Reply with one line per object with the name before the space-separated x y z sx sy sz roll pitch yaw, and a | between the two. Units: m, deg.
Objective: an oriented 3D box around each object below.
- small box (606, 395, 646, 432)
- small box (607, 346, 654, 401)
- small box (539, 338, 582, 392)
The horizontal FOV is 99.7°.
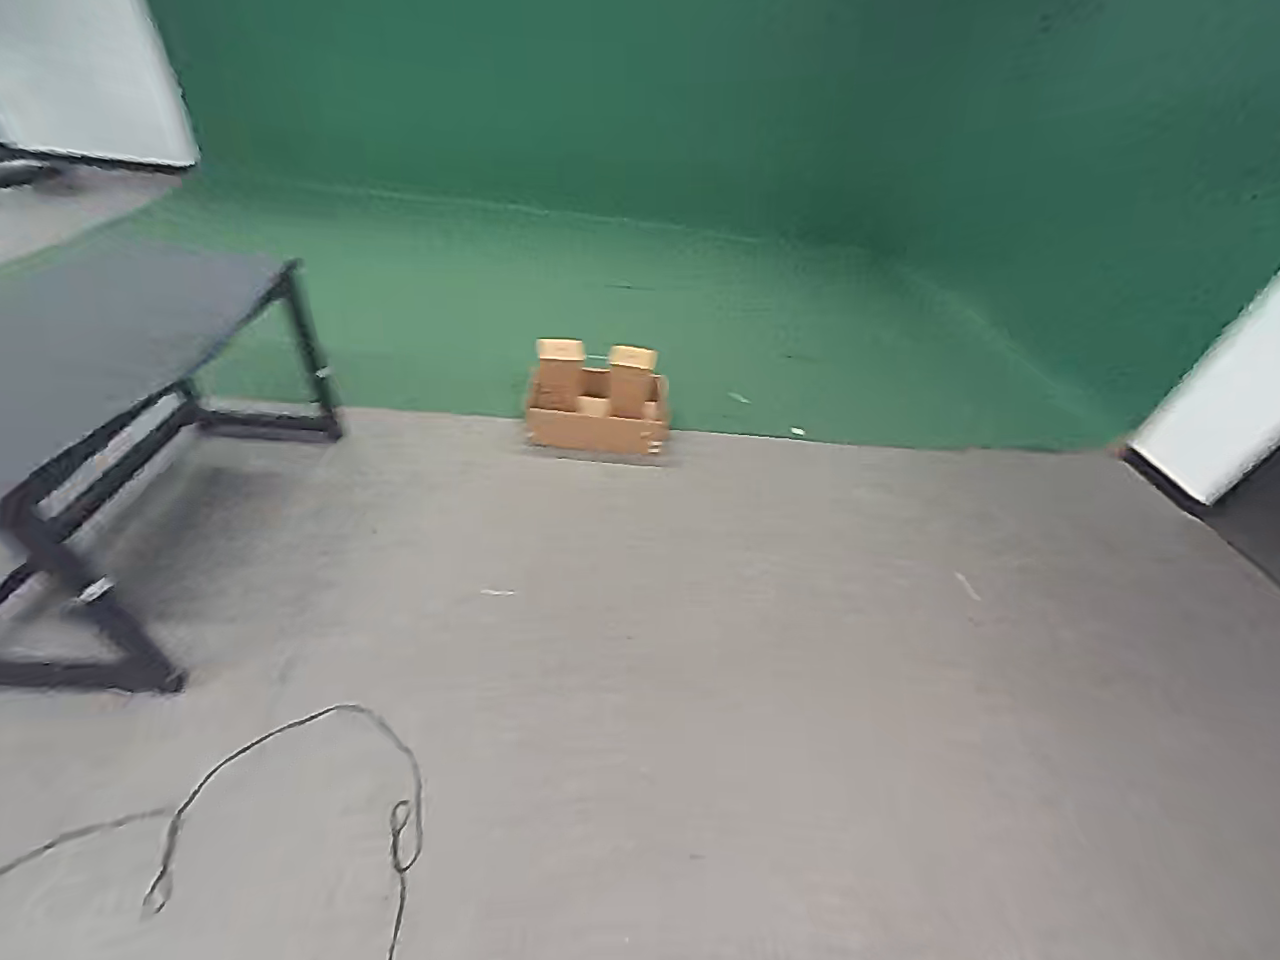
small box | -0.062 -0.351 2.506 0.168 0.176 0.179 10 43 1
small box | -0.041 -0.469 2.393 0.179 0.176 0.168 10 41 1
small box | -0.351 -0.501 2.365 0.179 0.176 0.168 1 44 -13
